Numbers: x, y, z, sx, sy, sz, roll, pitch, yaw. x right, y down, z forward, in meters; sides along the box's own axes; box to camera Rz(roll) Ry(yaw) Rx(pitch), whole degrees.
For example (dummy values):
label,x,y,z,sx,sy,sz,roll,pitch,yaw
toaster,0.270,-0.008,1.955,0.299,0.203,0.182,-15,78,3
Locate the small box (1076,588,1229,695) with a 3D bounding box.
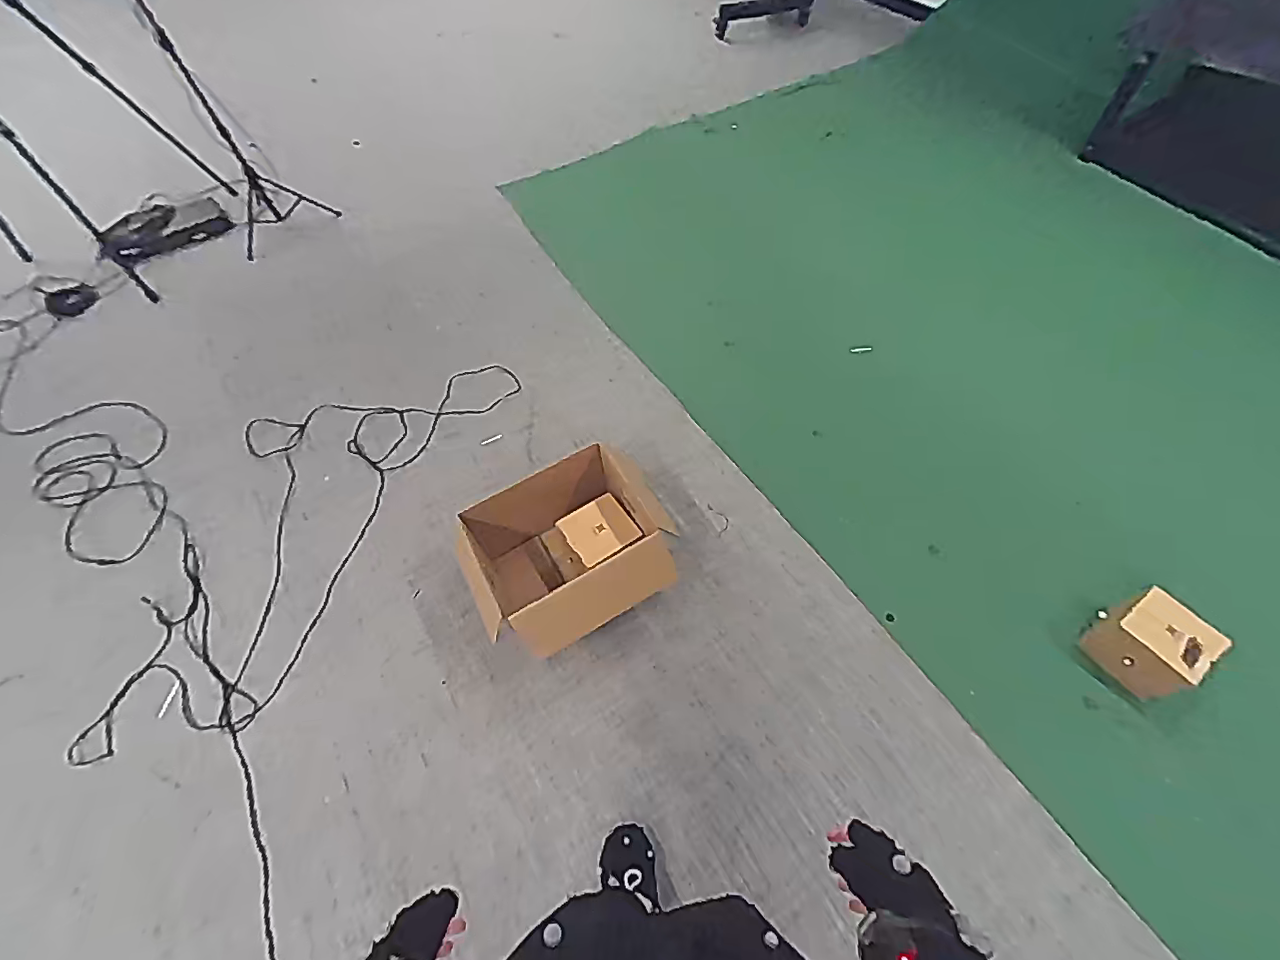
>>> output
label,x,y,z,sx,sy,sz,roll,pitch,yaw
small box,1.235,0.401,1.317,0.168,0.176,0.179,-32,61,-17
